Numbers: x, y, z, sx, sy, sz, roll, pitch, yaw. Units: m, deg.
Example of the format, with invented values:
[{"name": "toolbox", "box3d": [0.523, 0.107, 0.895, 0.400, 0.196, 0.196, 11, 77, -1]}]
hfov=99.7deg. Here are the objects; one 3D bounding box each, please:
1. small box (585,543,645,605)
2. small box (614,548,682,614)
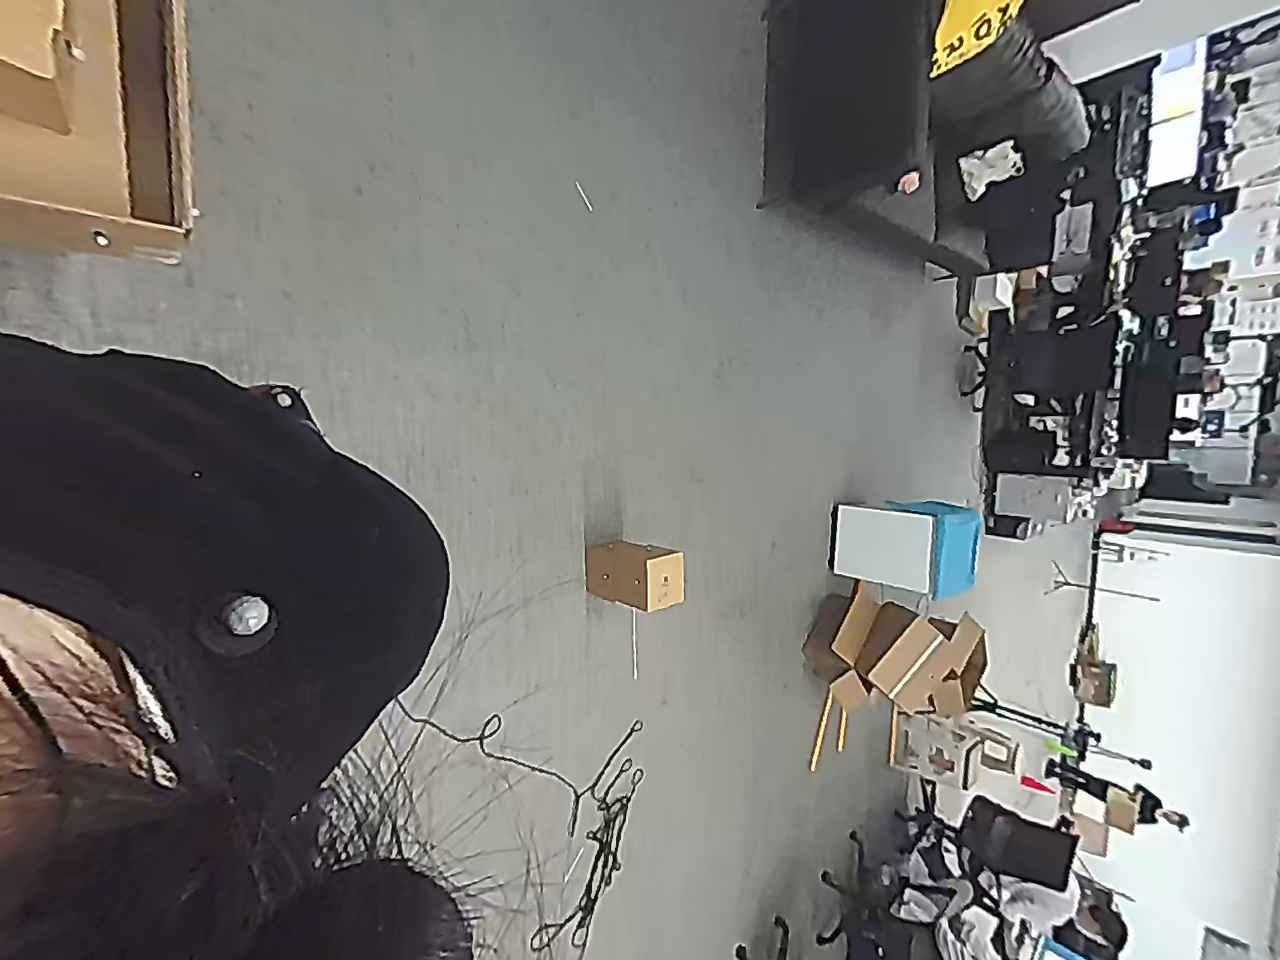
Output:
[{"name": "small box", "box3d": [-0.085, 0.329, 1.938, 0.168, 0.176, 0.179, -6, 99, -42]}, {"name": "small box", "box3d": [0.025, 0.330, 1.815, 0.168, 0.176, 0.179, -6, 98, -41]}]
